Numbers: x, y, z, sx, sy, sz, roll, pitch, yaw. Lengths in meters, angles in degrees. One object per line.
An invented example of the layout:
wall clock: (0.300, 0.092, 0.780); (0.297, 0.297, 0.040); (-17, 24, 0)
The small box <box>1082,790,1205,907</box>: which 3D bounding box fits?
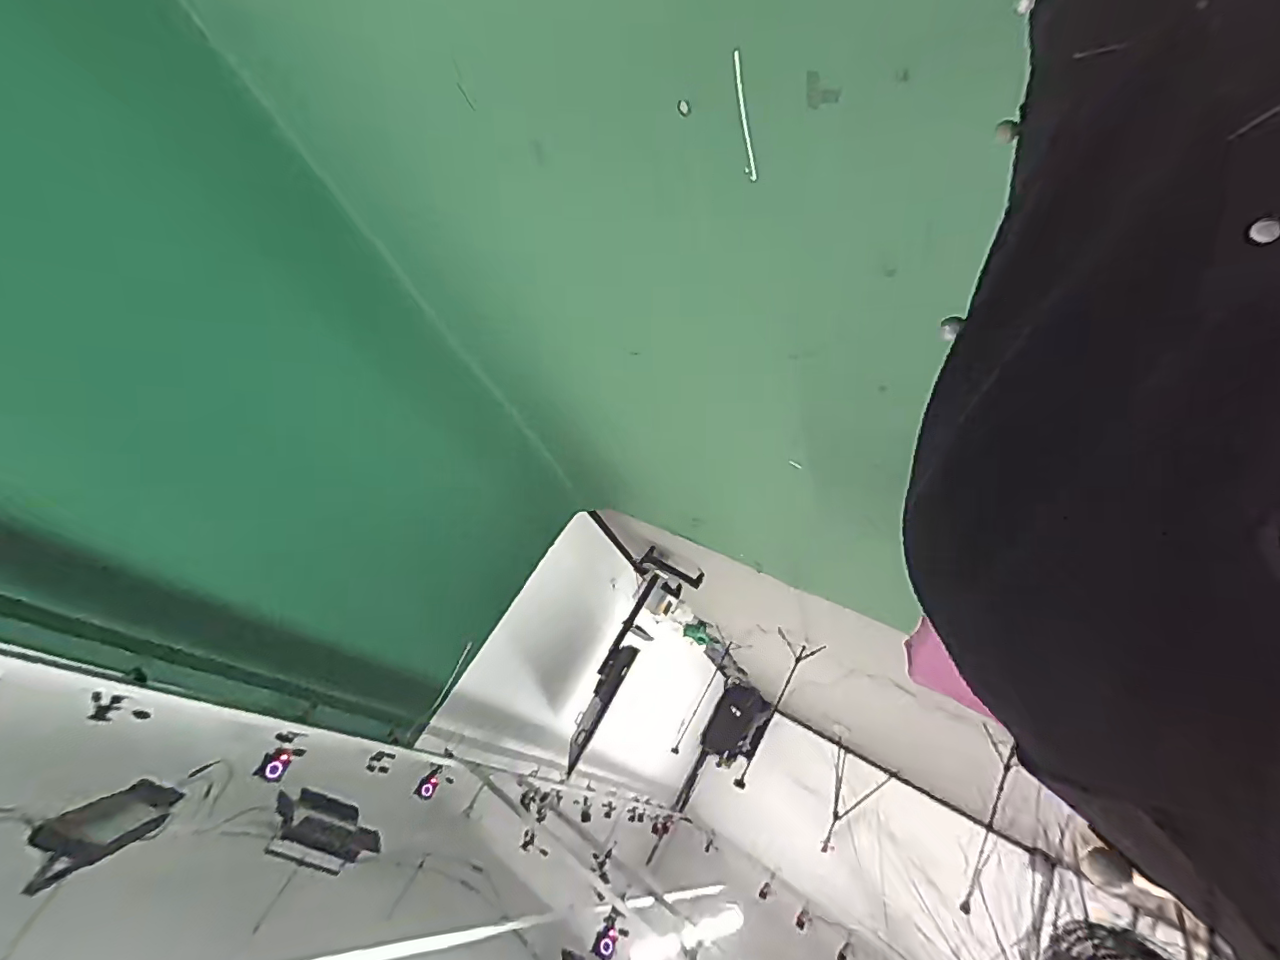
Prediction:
small box: (1.233, 0.897, 1.327); (0.179, 0.176, 0.168); (19, 157, 34)
